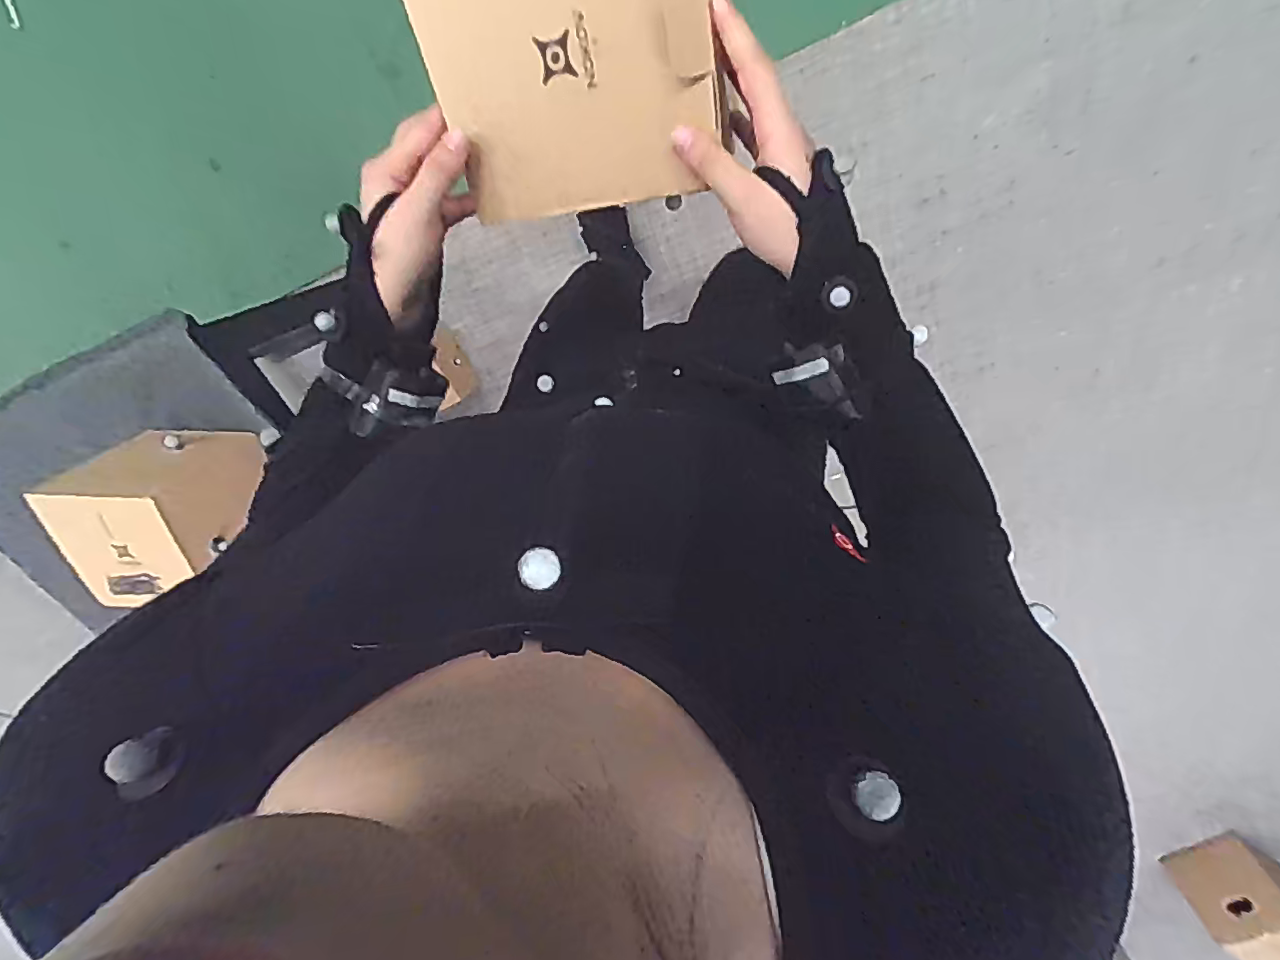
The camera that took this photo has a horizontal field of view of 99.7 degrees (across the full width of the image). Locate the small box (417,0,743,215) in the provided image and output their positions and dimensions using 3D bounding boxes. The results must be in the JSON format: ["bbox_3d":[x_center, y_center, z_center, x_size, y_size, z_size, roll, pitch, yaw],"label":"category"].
[{"bbox_3d":[-0.024,-0.301,0.371,0.179,0.176,0.168,-2,130,14],"label":"small box"}]

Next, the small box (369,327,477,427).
[{"bbox_3d":[-0.538,-0.267,1.377,0.179,0.176,0.168,-23,115,16],"label":"small box"}]

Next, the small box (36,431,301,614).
[{"bbox_3d":[-0.597,0.052,0.719,0.168,0.176,0.179,2,122,6],"label":"small box"}]
